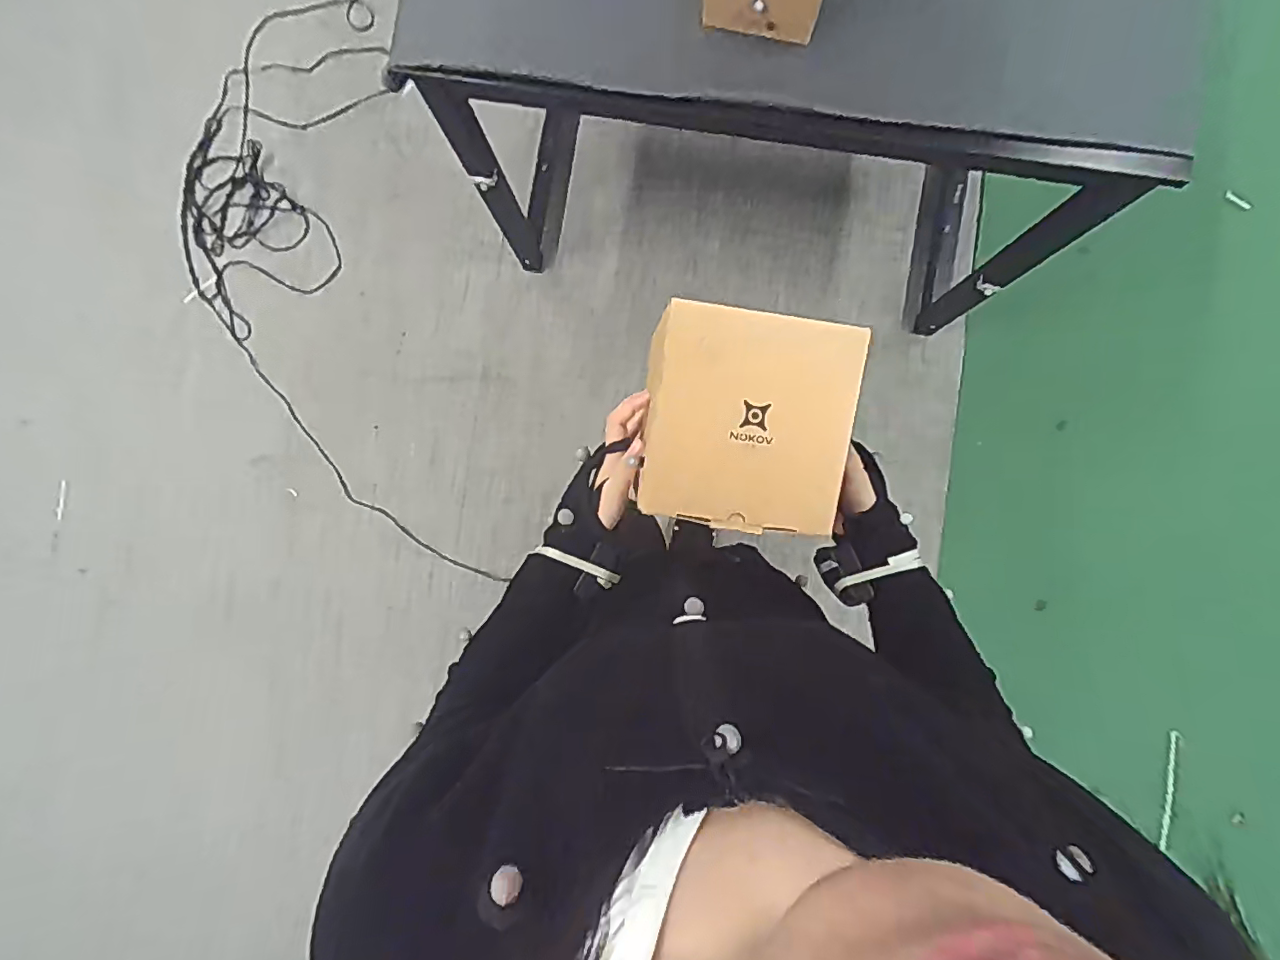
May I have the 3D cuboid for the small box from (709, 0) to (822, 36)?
[{"bbox_3d":[0.194,-0.766,0.732,0.168,0.176,0.179,14,87,4],"label":"small box"}]

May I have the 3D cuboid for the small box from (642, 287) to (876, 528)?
[{"bbox_3d":[0.094,-0.064,0.512,0.168,0.176,0.179,7,97,-3],"label":"small box"}]
